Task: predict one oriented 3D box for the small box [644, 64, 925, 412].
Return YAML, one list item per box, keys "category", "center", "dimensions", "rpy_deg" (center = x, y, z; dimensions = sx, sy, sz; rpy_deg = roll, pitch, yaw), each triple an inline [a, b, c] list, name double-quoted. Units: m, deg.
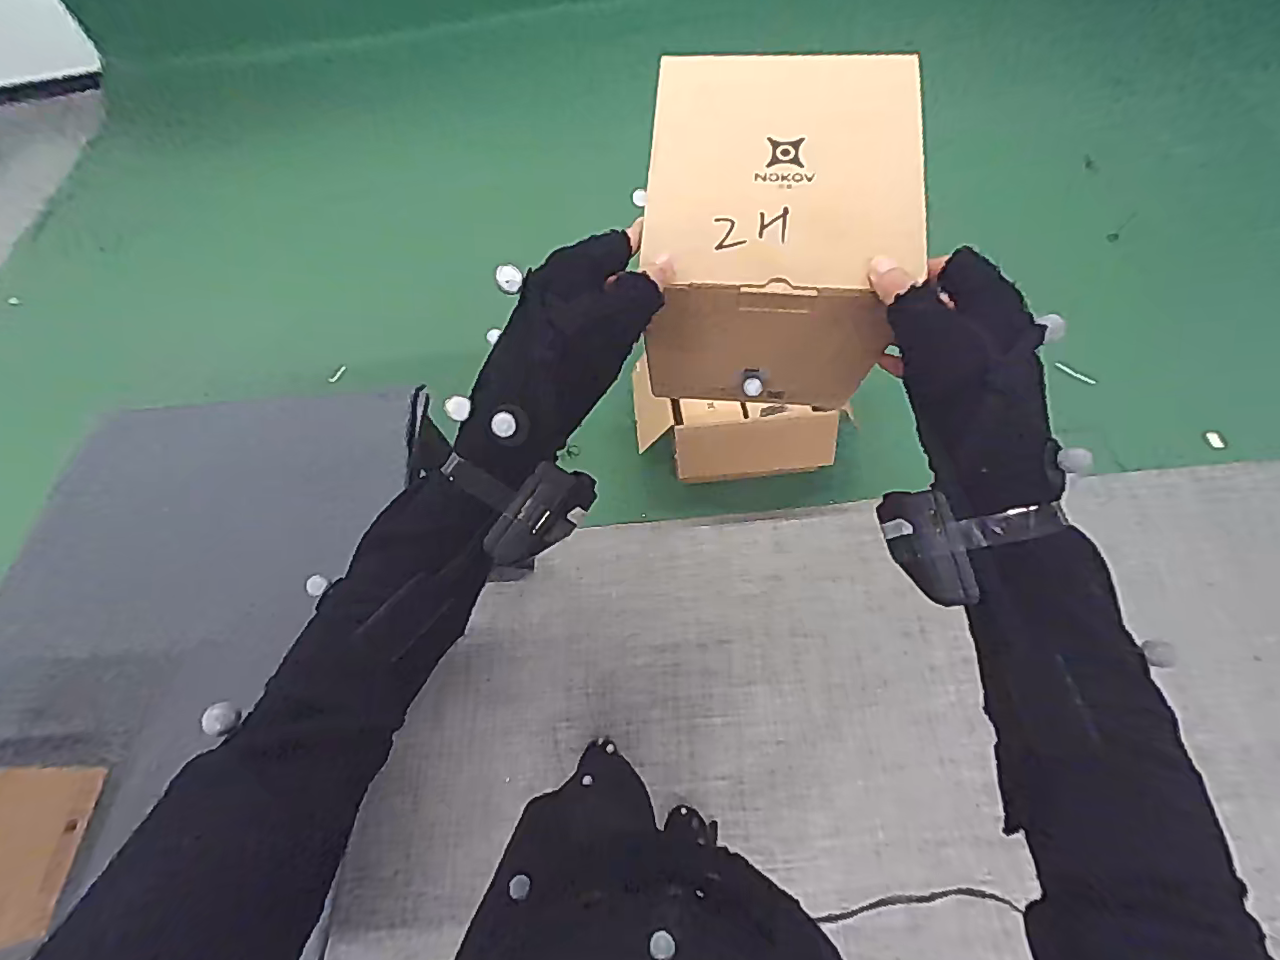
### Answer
- category: "small box"
  center: [0.097, -0.169, 0.414]
  dimensions: [0.168, 0.176, 0.179]
  rpy_deg: [5, 75, 6]
